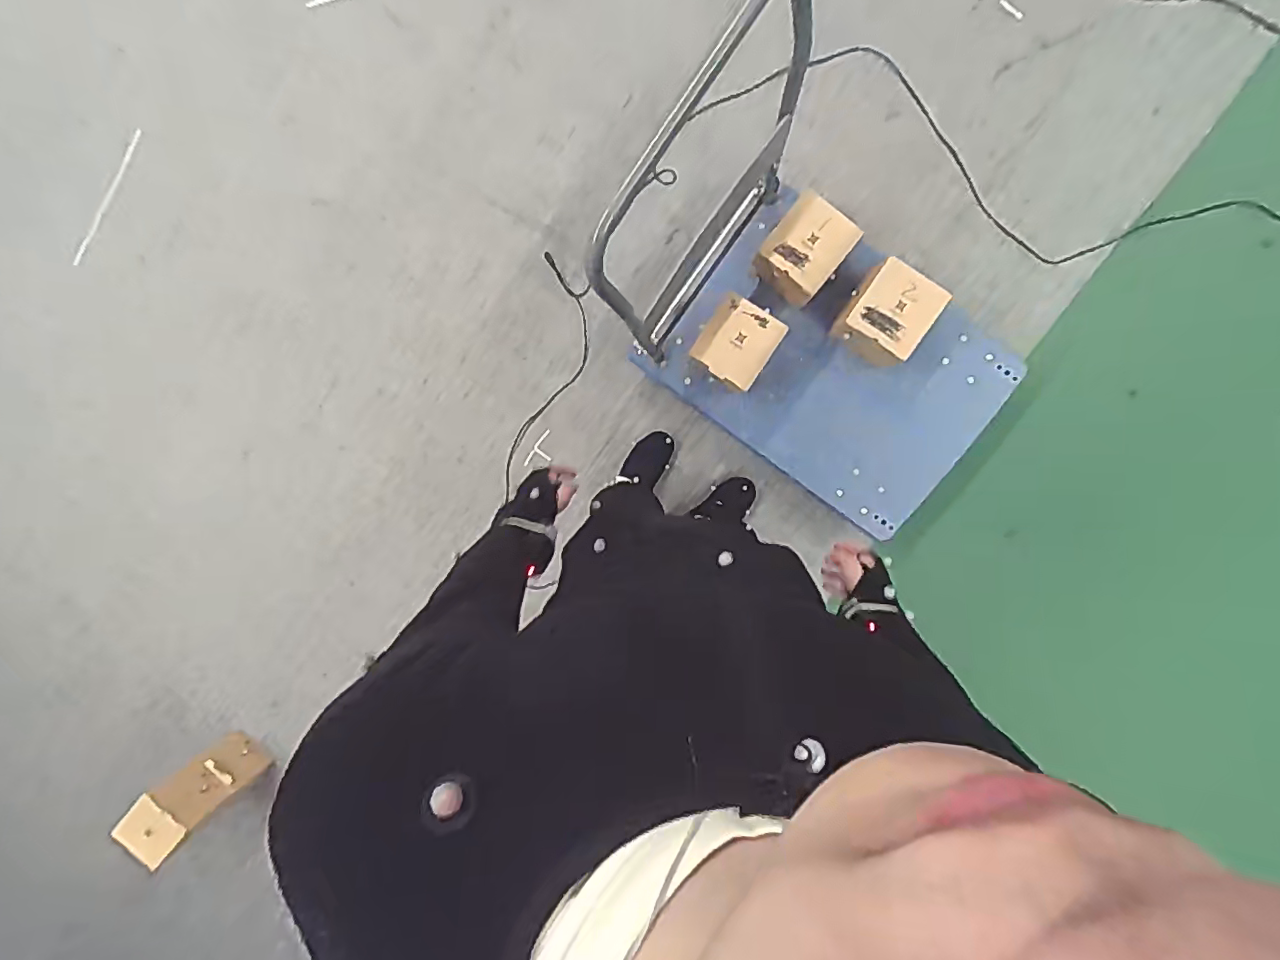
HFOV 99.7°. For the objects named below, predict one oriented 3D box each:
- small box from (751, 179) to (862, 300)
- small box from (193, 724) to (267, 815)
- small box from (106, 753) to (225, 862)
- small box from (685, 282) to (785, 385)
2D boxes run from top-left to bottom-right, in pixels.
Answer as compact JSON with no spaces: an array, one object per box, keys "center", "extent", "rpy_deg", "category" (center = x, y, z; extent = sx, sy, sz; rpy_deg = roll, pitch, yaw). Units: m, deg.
[{"center":[0.379,-0.553,1.274],"extent":[0.168,0.176,0.179],"rpy_deg":[39,97,-2],"category":"small box"},{"center":[-1.377,0.944,1.761],"extent":[0.179,0.176,0.168],"rpy_deg":[-42,95,6],"category":"small box"},{"center":[-1.395,0.962,1.602],"extent":[0.168,0.176,0.179],"rpy_deg":[42,97,-1],"category":"small box"},{"center":[0.224,-0.343,1.311],"extent":[0.168,0.176,0.179],"rpy_deg":[34,99,-1],"category":"small box"}]
